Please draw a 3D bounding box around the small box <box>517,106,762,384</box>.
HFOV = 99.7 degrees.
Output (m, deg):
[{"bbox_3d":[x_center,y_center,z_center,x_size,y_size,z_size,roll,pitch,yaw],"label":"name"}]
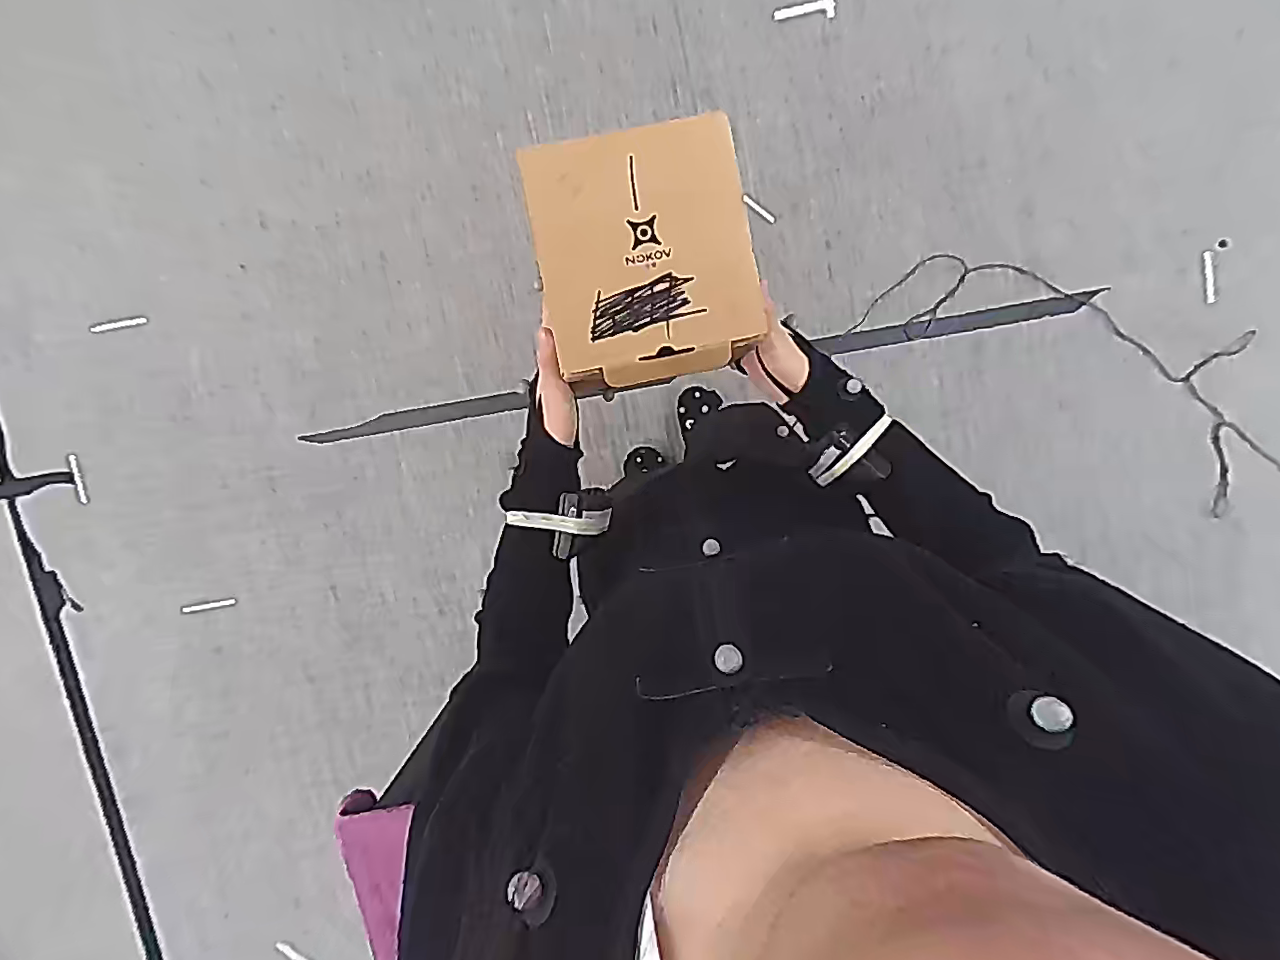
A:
[{"bbox_3d":[0.000,-0.189,0.493,0.168,0.176,0.179,-11,93,-1],"label":"small box"}]
